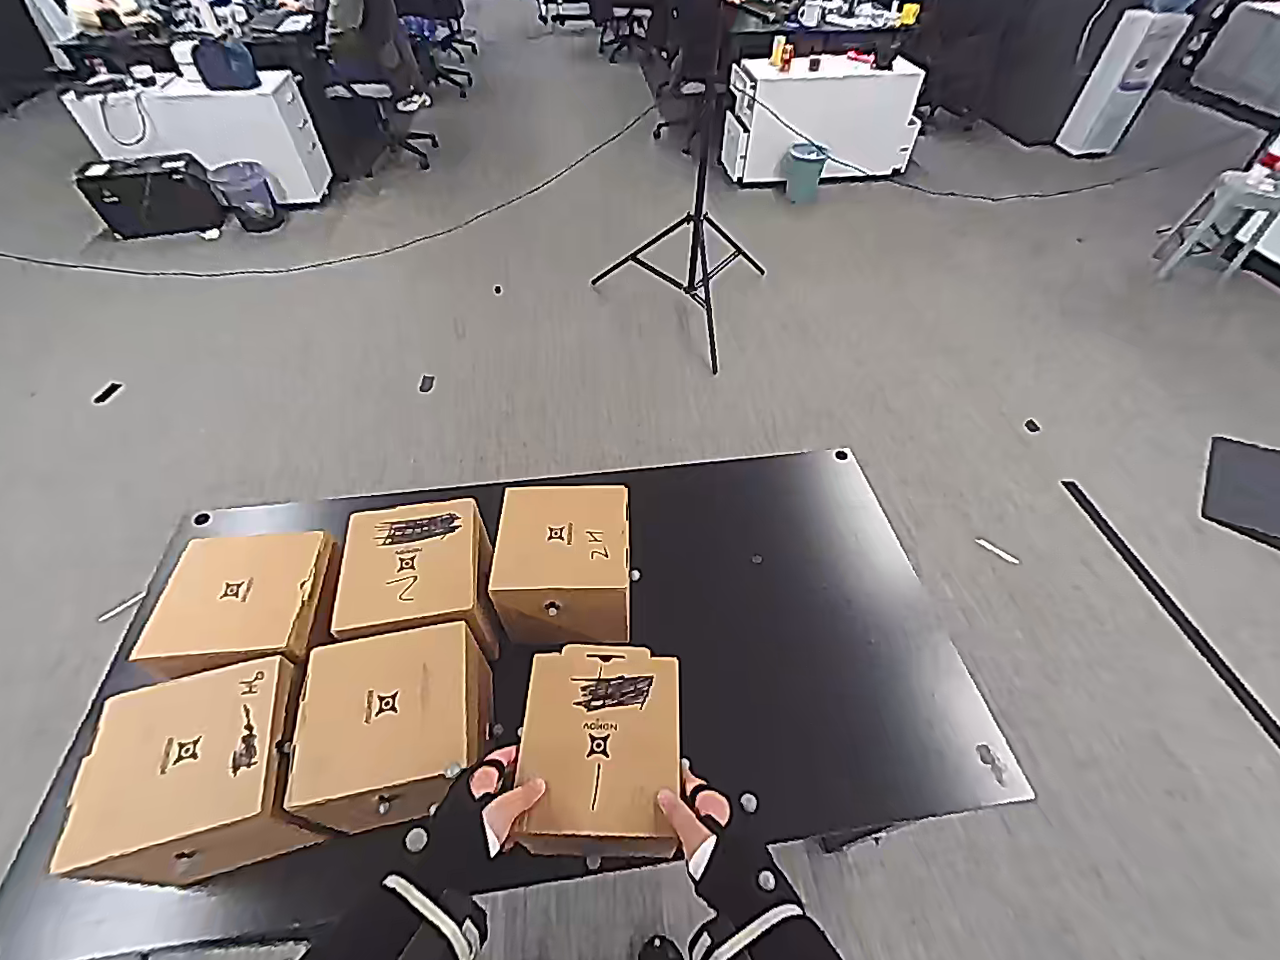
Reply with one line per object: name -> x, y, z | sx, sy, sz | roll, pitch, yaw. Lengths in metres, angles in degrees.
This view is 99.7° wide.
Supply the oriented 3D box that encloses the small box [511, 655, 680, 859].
small box -> -0.042, 0.324, 0.630 | 0.168, 0.176, 0.179 | 1, 50, 1
